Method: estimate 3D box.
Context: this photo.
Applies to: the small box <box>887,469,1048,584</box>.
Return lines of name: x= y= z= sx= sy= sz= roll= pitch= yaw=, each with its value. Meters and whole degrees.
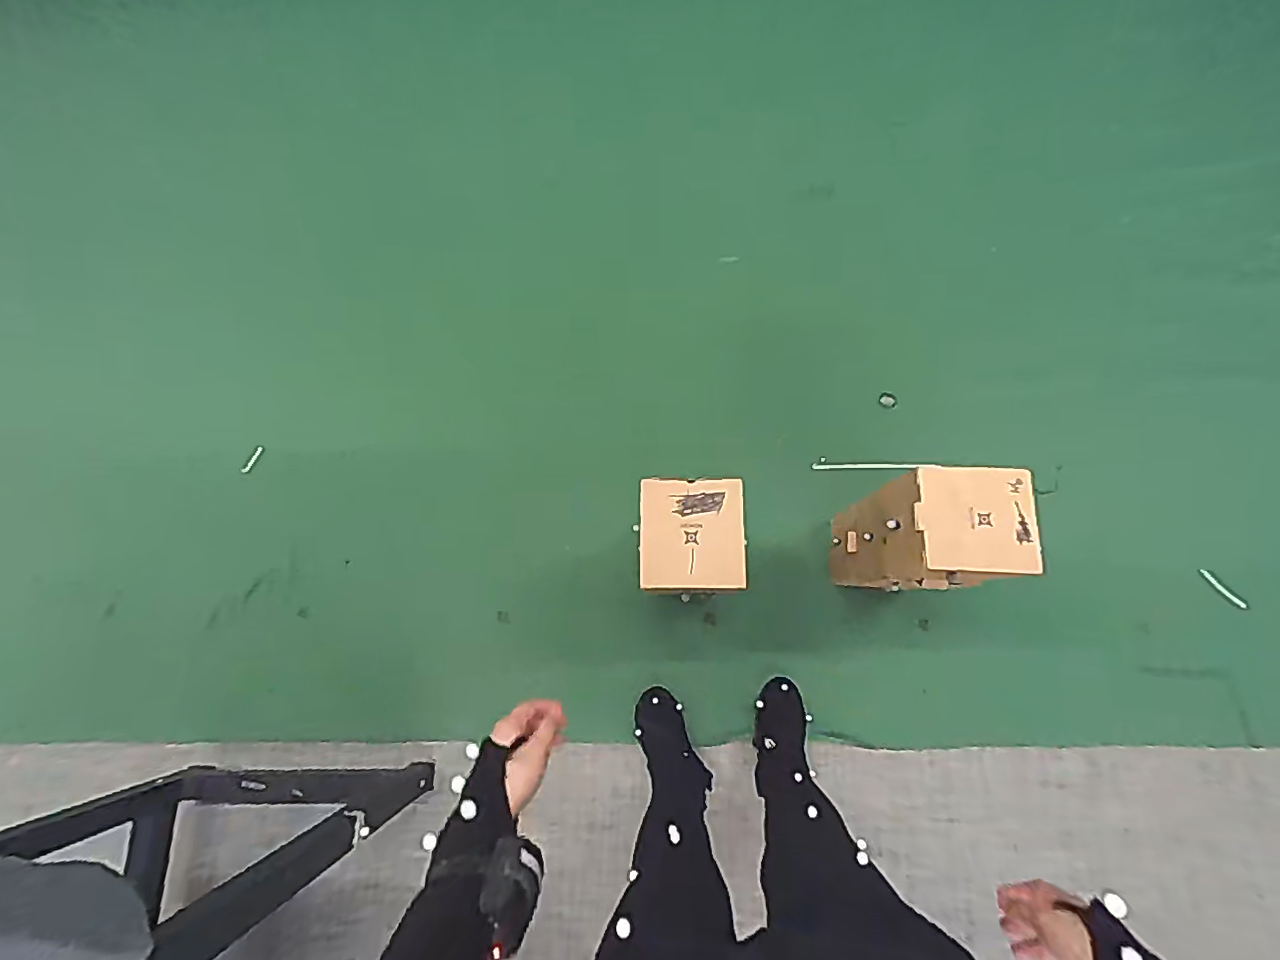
small box: x=0.530 y=0.084 z=0.904 sx=0.179 sy=0.176 sz=0.168 roll=2 pitch=76 yaw=4

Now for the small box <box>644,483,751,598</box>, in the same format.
small box: x=0.091 y=0.108 z=0.919 sx=0.168 sy=0.176 sz=0.179 roll=0 pitch=77 yaw=3

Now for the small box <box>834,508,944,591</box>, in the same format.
small box: x=0.555 y=0.162 z=1.222 sx=0.179 sy=0.176 sz=0.168 roll=3 pitch=77 yaw=3
